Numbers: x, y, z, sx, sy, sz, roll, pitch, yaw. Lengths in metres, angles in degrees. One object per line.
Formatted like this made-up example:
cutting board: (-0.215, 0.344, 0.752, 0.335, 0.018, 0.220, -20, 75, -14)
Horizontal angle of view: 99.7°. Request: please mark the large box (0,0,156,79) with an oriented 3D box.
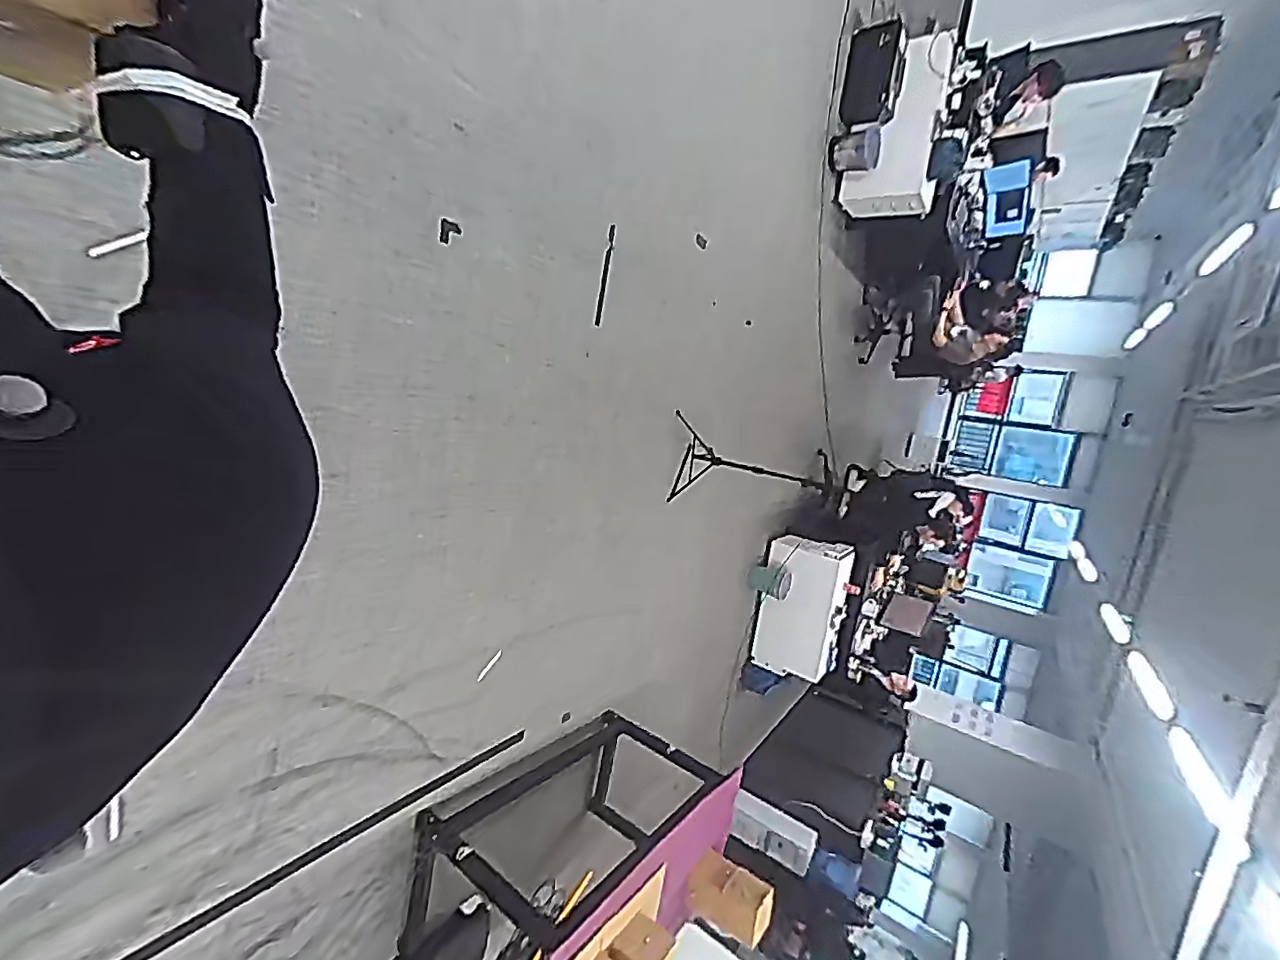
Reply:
large box: (-0.547, -0.479, 0.264, 0.408, 0.320, 0.320, -7, 114, -55)
